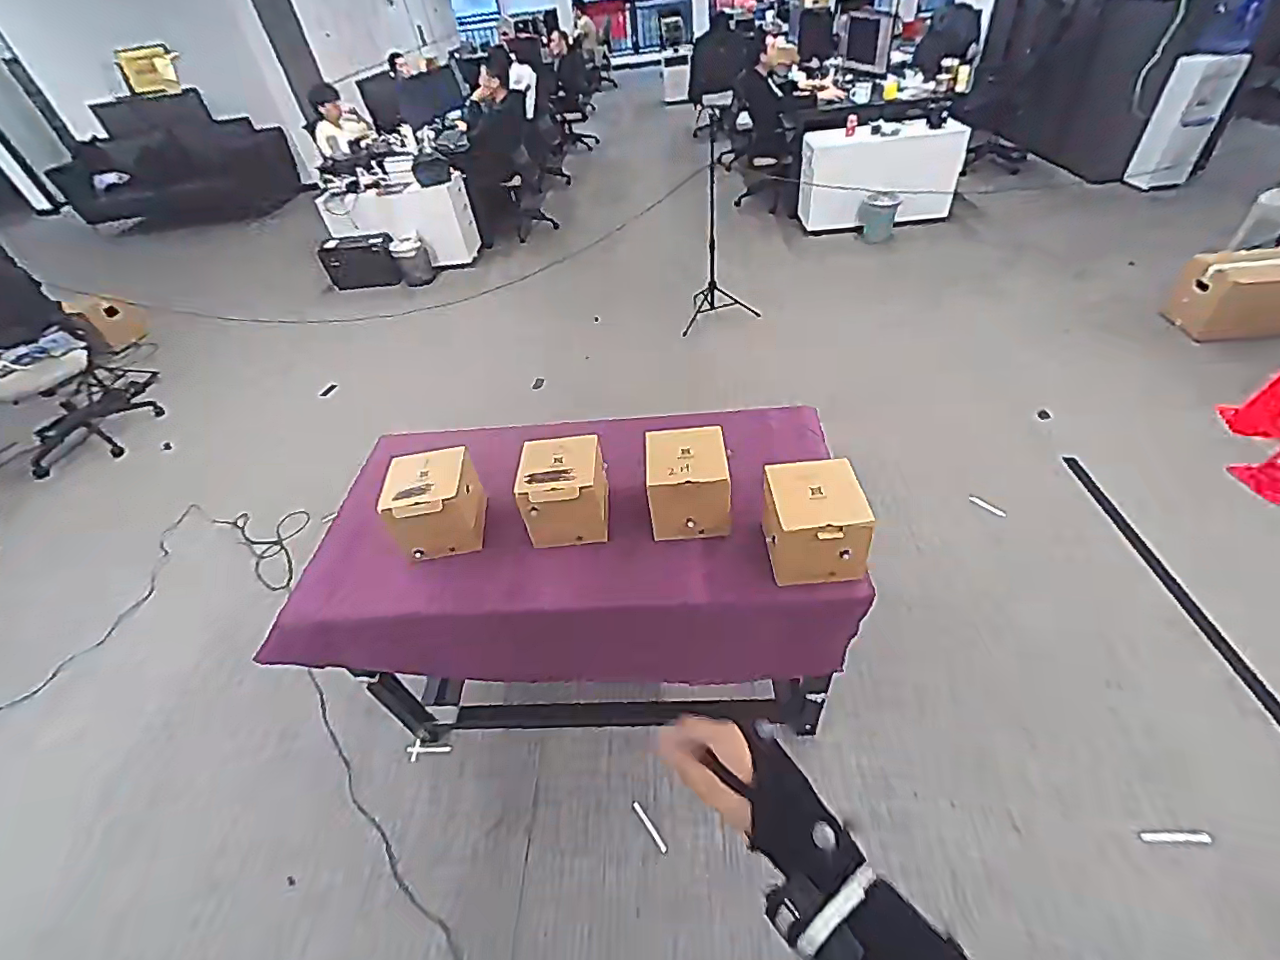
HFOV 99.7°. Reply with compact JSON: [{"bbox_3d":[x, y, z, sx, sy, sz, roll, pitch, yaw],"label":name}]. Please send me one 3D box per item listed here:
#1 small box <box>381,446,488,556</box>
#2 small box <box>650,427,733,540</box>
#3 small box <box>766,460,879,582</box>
[{"bbox_3d":[-0.446,0.054,1.206,0.168,0.176,0.179,-9,43,-2],"label":"small box"},{"bbox_3d":[0.109,0.008,1.169,0.168,0.176,0.179,-4,44,5],"label":"small box"},{"bbox_3d":[0.343,0.085,1.053,0.168,0.176,0.179,-5,43,4],"label":"small box"}]
